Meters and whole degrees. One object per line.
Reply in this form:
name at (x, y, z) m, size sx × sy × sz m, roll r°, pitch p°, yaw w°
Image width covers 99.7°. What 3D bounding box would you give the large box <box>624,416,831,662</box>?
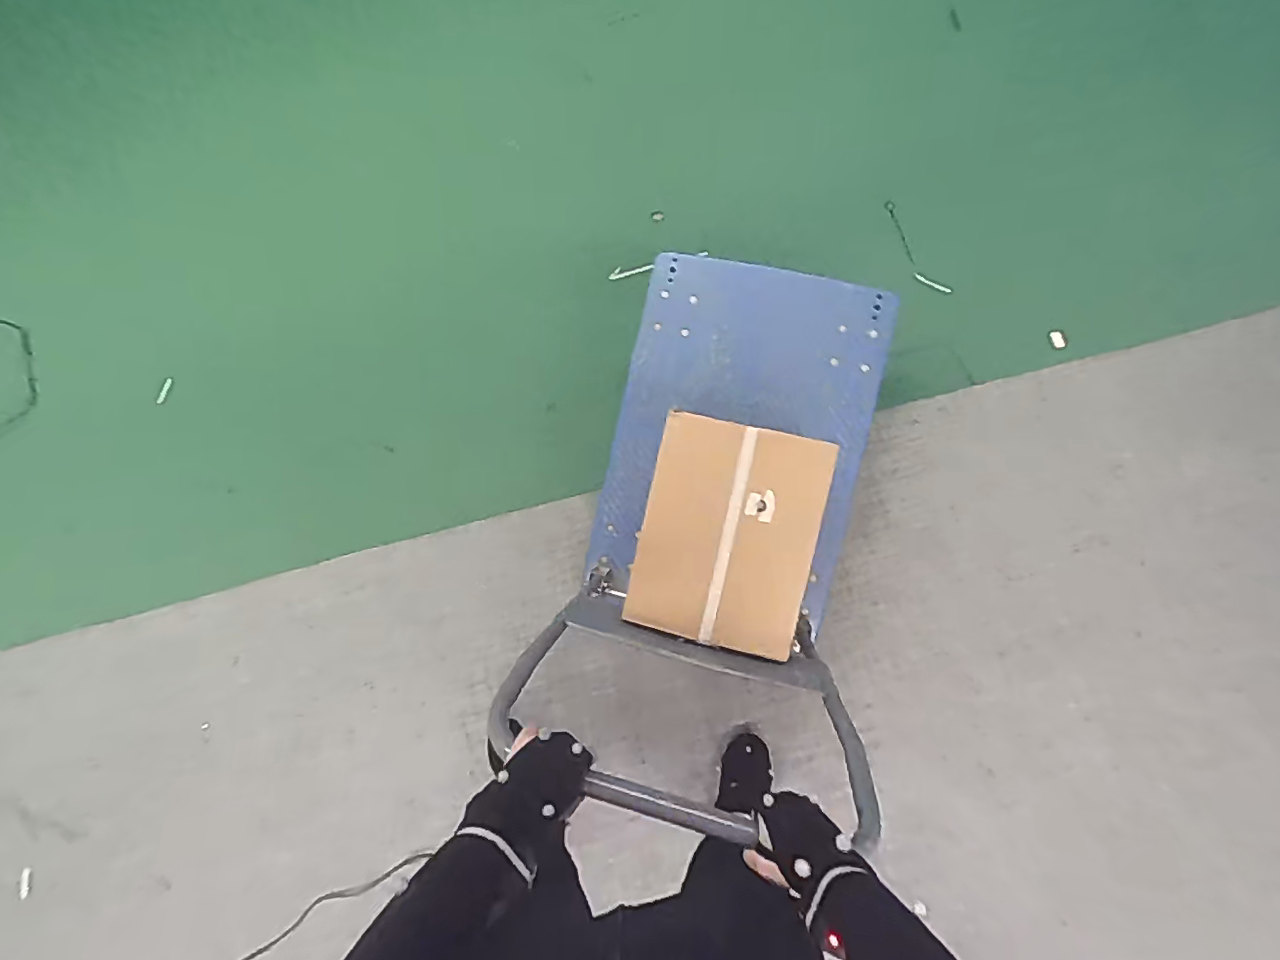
large box at (0.177, 0.108, 1.140) m, size 0.320 × 0.320 × 0.408 m, roll 14°, pitch 92°, yaw 7°
